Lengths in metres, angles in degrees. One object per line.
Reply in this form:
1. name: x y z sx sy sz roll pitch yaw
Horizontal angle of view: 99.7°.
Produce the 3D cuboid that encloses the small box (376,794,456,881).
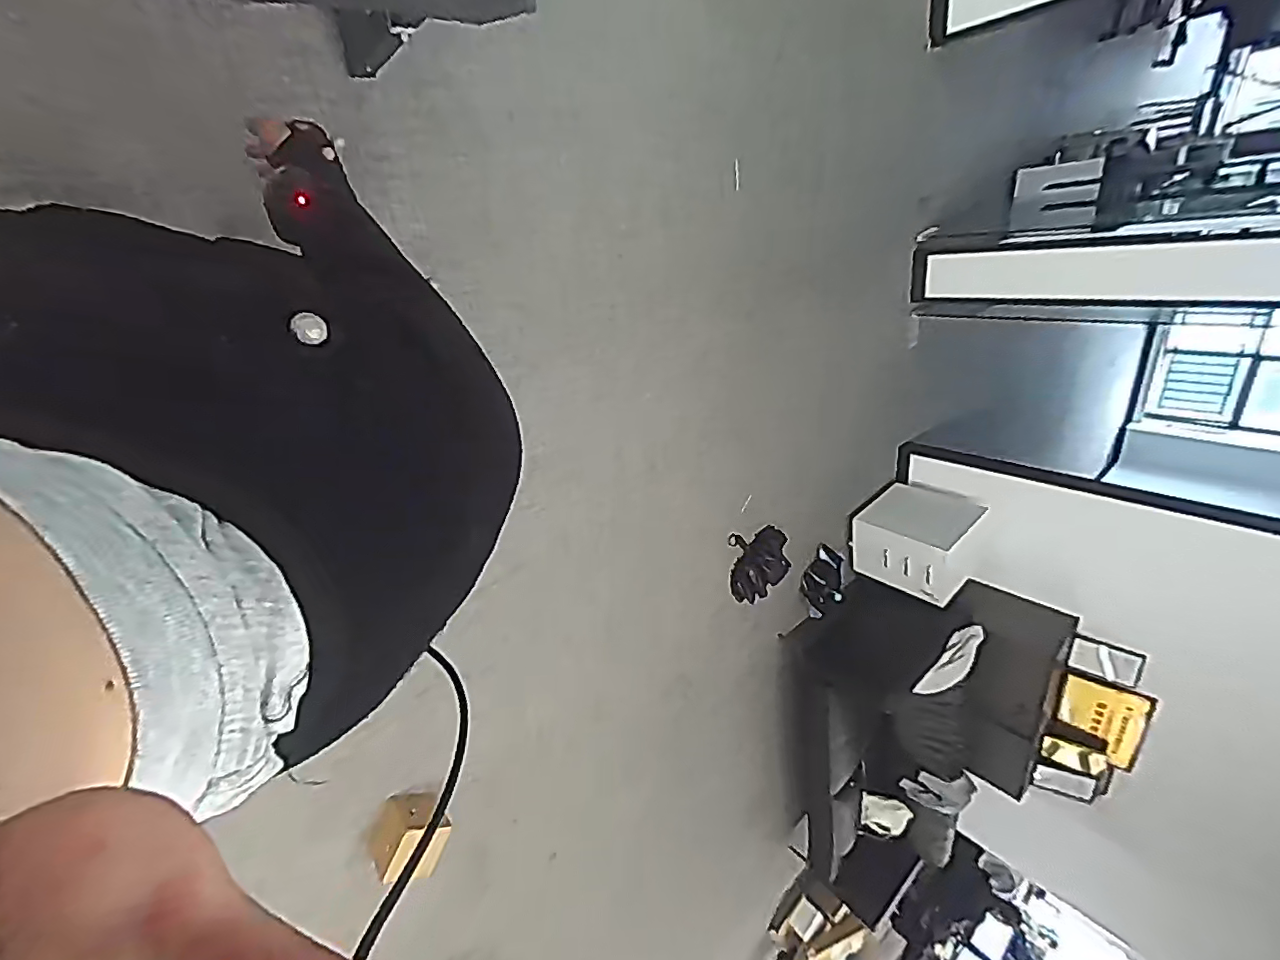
1. small box: -0.750 1.174 1.797 0.168 0.176 0.179 26 88 -43
